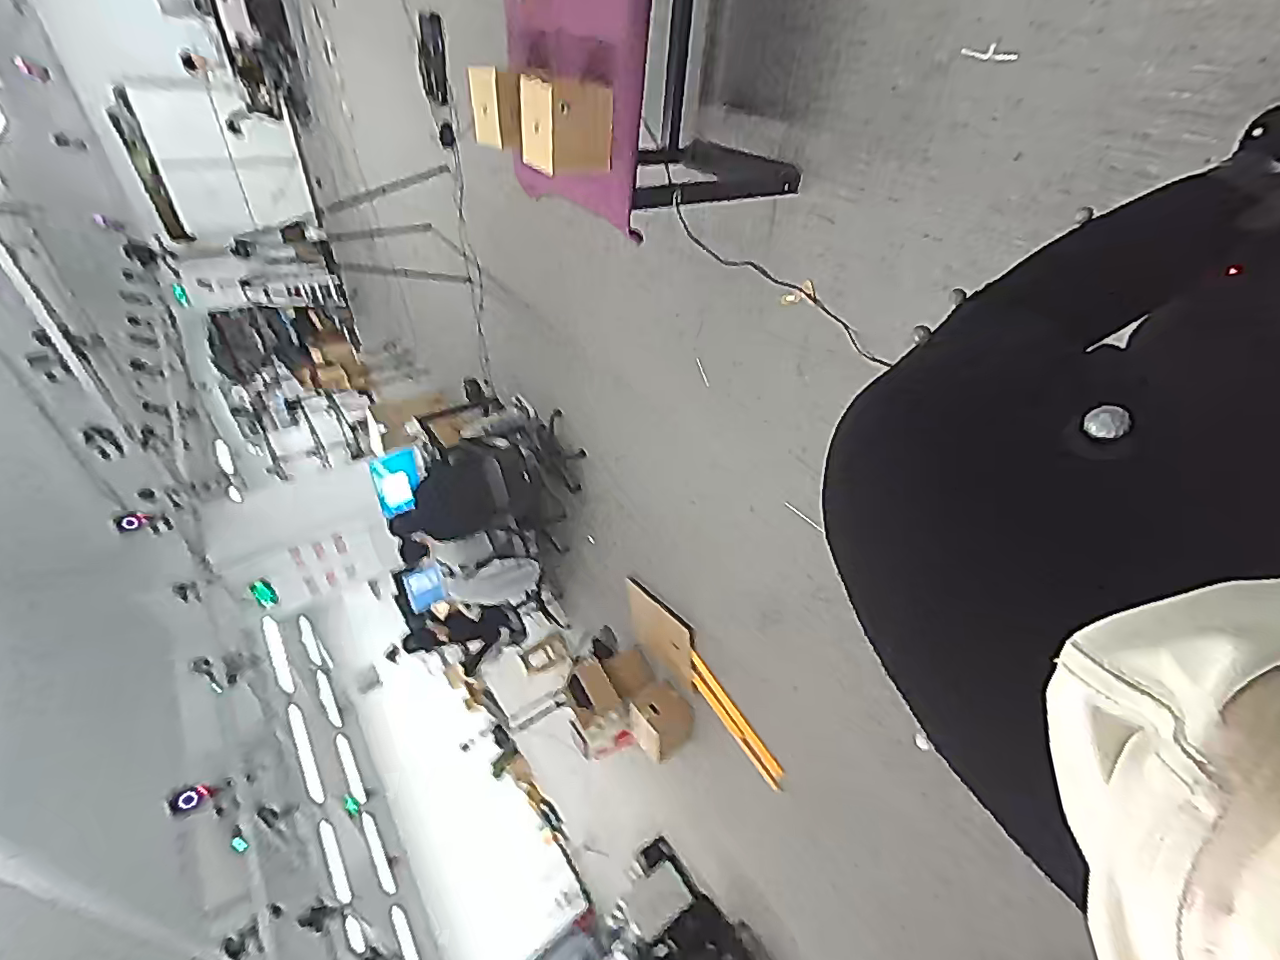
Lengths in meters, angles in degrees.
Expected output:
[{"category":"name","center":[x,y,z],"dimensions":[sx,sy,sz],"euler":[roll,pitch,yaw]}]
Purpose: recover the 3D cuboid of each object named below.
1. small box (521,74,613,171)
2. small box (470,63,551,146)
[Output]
[{"category":"small box","center":[-0.178,-0.879,1.330],"dimensions":[0.168,0.176,0.179],"euler":[46,143,36]},{"category":"small box","center":[-0.348,-1.042,1.499],"dimensions":[0.168,0.176,0.179],"euler":[41,141,38]}]
